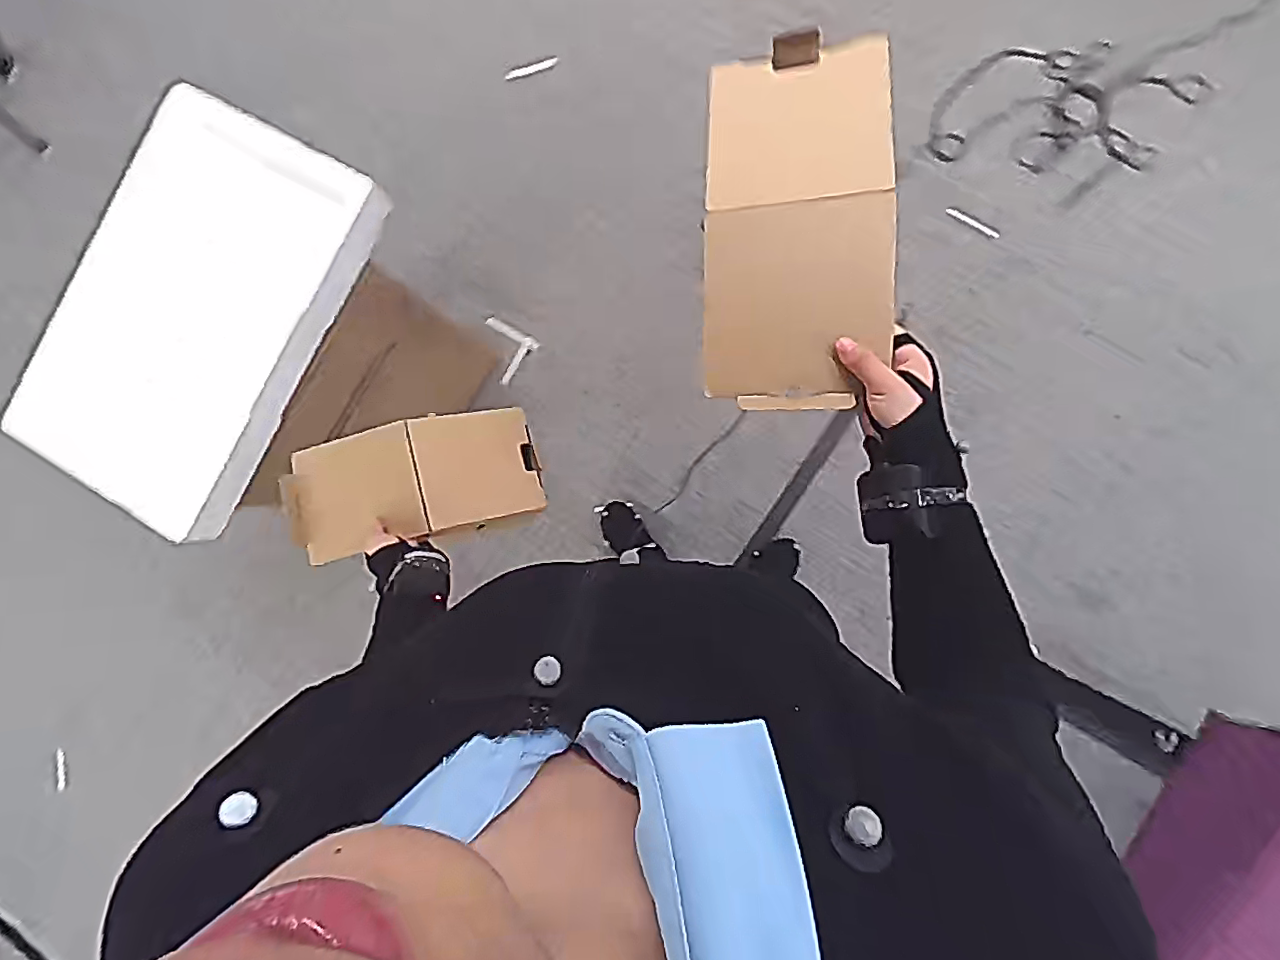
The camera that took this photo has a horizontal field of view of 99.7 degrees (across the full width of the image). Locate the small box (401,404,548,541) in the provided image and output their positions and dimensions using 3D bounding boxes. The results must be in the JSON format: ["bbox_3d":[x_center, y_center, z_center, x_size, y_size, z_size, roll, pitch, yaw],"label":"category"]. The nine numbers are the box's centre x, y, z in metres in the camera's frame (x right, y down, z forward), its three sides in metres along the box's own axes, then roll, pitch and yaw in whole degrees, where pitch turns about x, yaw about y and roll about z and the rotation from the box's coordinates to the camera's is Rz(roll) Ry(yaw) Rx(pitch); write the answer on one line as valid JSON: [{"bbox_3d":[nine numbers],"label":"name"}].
[{"bbox_3d":[-0.265,-0.008,0.842,0.179,0.176,0.168,-11,83,-30],"label":"small box"}]
